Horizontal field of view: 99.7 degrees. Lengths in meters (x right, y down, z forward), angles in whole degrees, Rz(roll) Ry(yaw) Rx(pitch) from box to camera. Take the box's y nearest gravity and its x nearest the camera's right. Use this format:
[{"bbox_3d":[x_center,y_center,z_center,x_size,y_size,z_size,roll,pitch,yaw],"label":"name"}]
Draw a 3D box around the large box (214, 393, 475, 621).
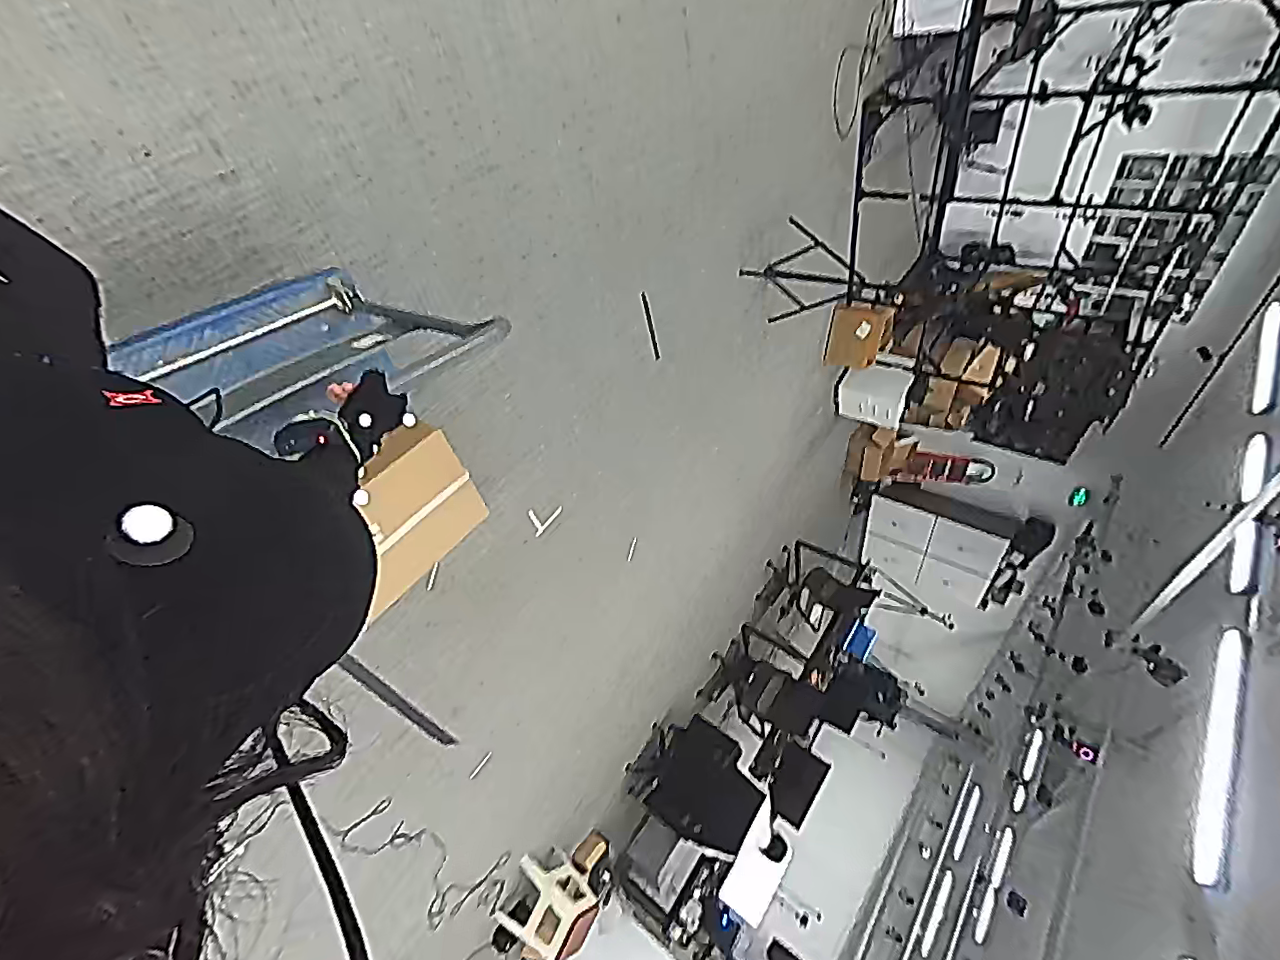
[{"bbox_3d":[-0.700,0.050,1.329,0.408,0.320,0.320,-47,143,-29],"label":"large box"}]
